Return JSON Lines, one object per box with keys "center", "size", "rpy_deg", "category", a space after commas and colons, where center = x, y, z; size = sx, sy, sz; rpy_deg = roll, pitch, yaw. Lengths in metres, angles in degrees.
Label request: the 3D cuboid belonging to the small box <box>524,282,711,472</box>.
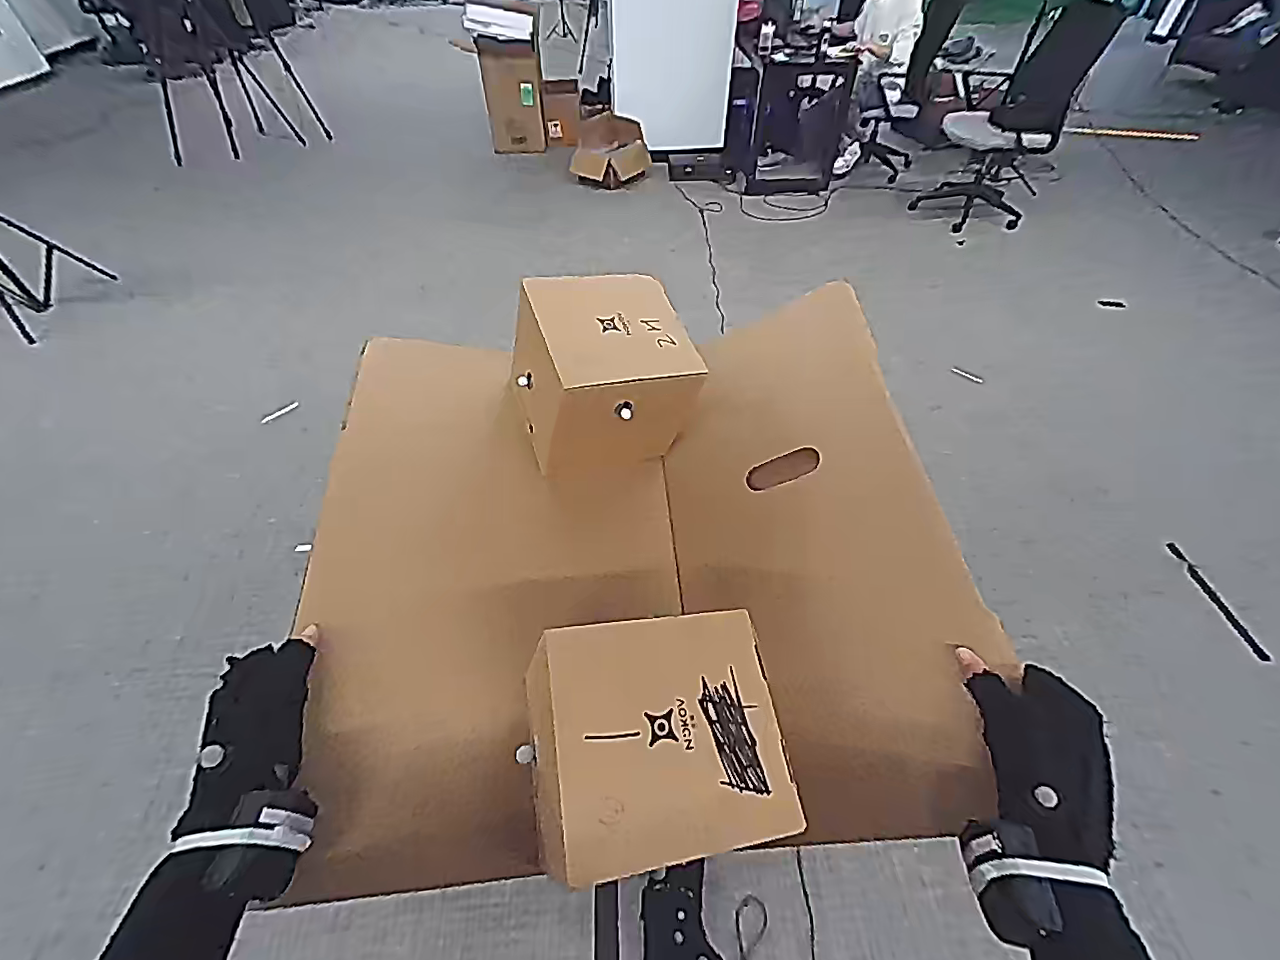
{"center": [-0.043, -0.126, 0.680], "size": [0.179, 0.176, 0.168], "rpy_deg": [-10, 62, -24], "category": "small box"}
